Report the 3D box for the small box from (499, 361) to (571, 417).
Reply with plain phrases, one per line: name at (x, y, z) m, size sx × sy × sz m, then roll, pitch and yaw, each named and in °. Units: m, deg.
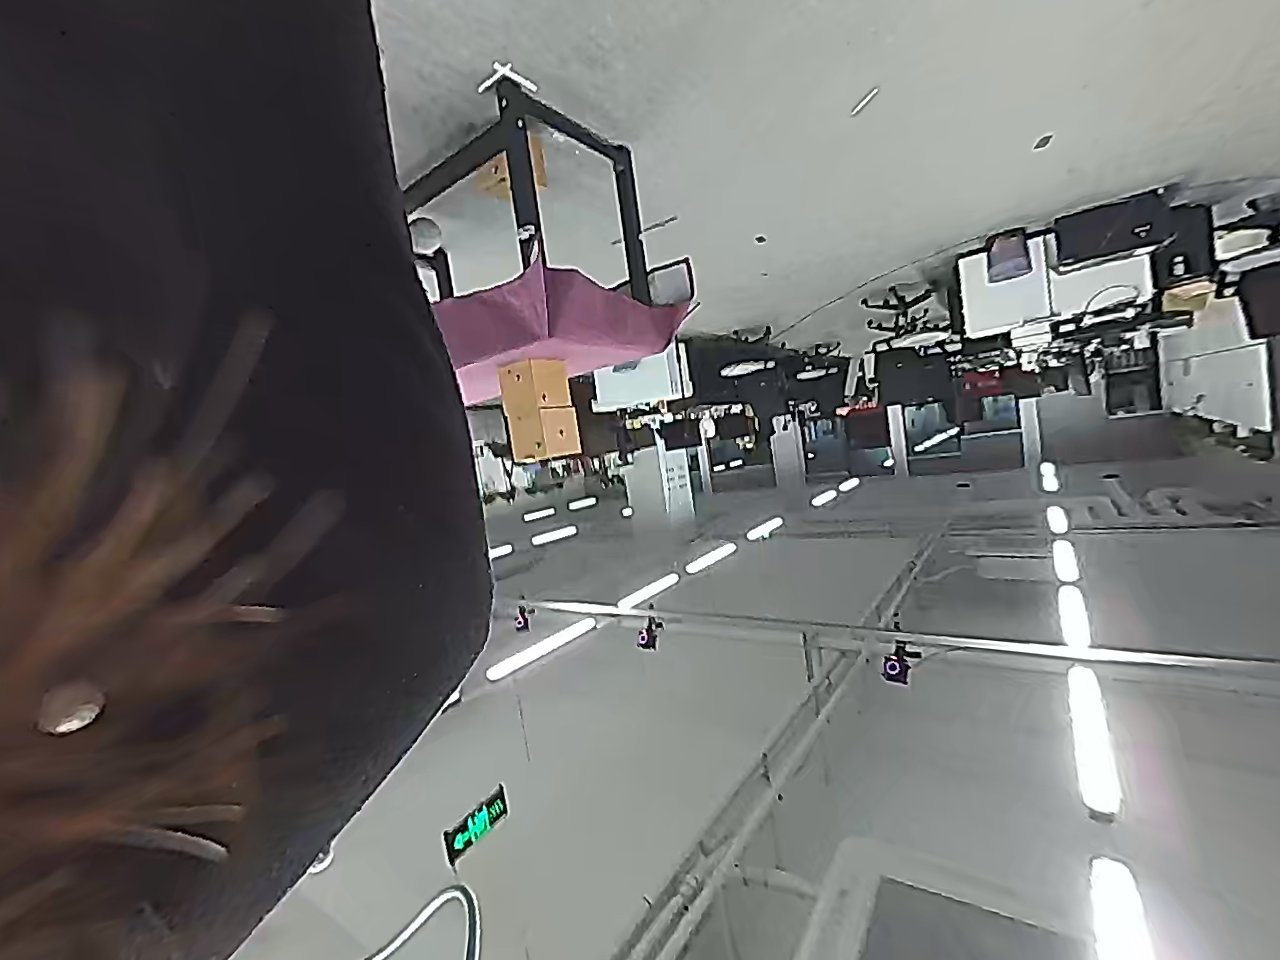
small box at (-0.367, -0.317, 1.888) m, size 0.168 × 0.176 × 0.179 m, roll -6°, pitch -176°, yaw 36°
